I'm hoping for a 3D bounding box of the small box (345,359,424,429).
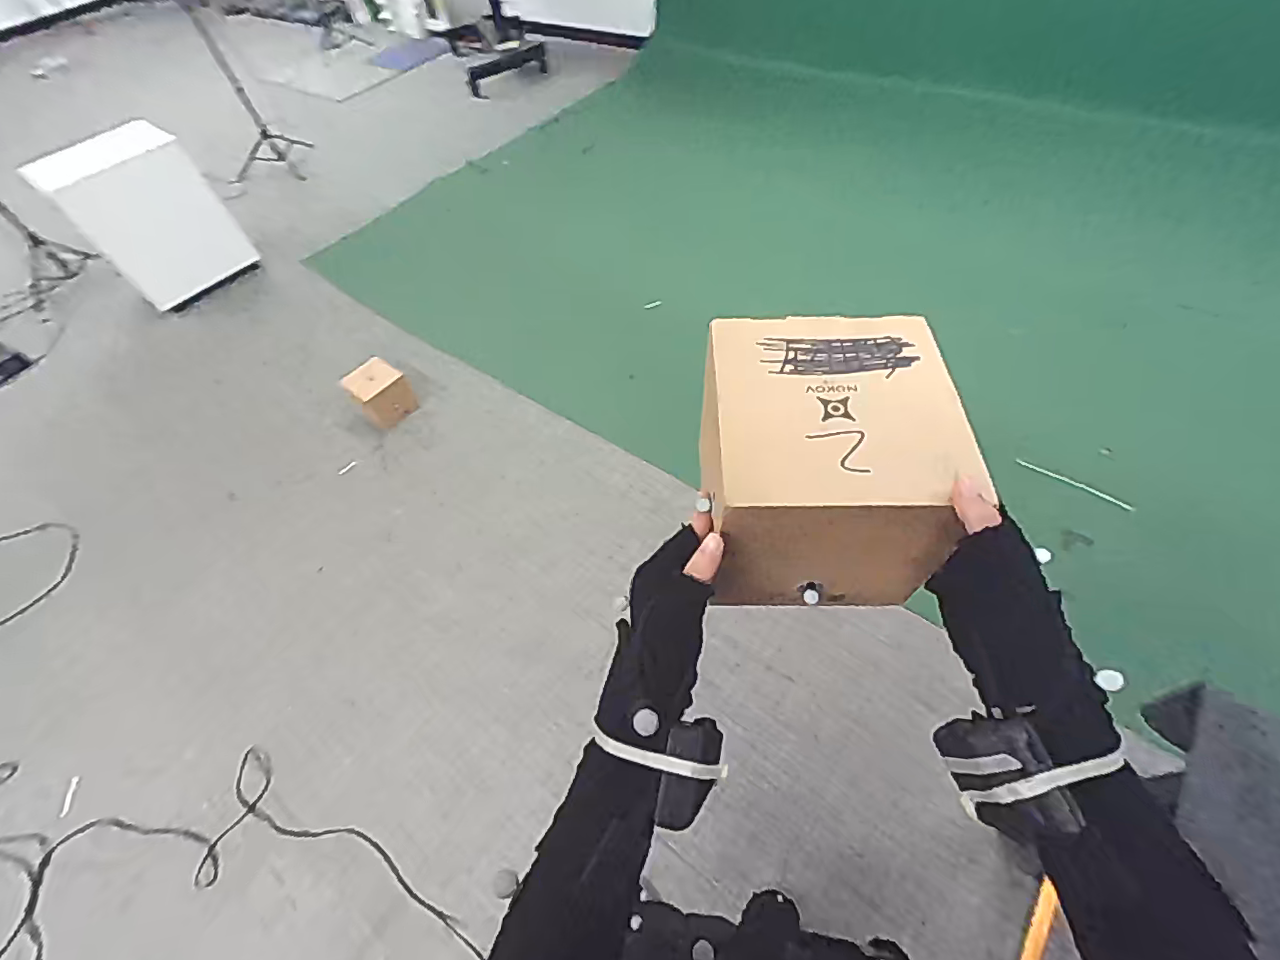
[{"bbox_3d":[-0.952,-0.318,2.031,0.179,0.176,0.168,31,63,25],"label":"small box"}]
